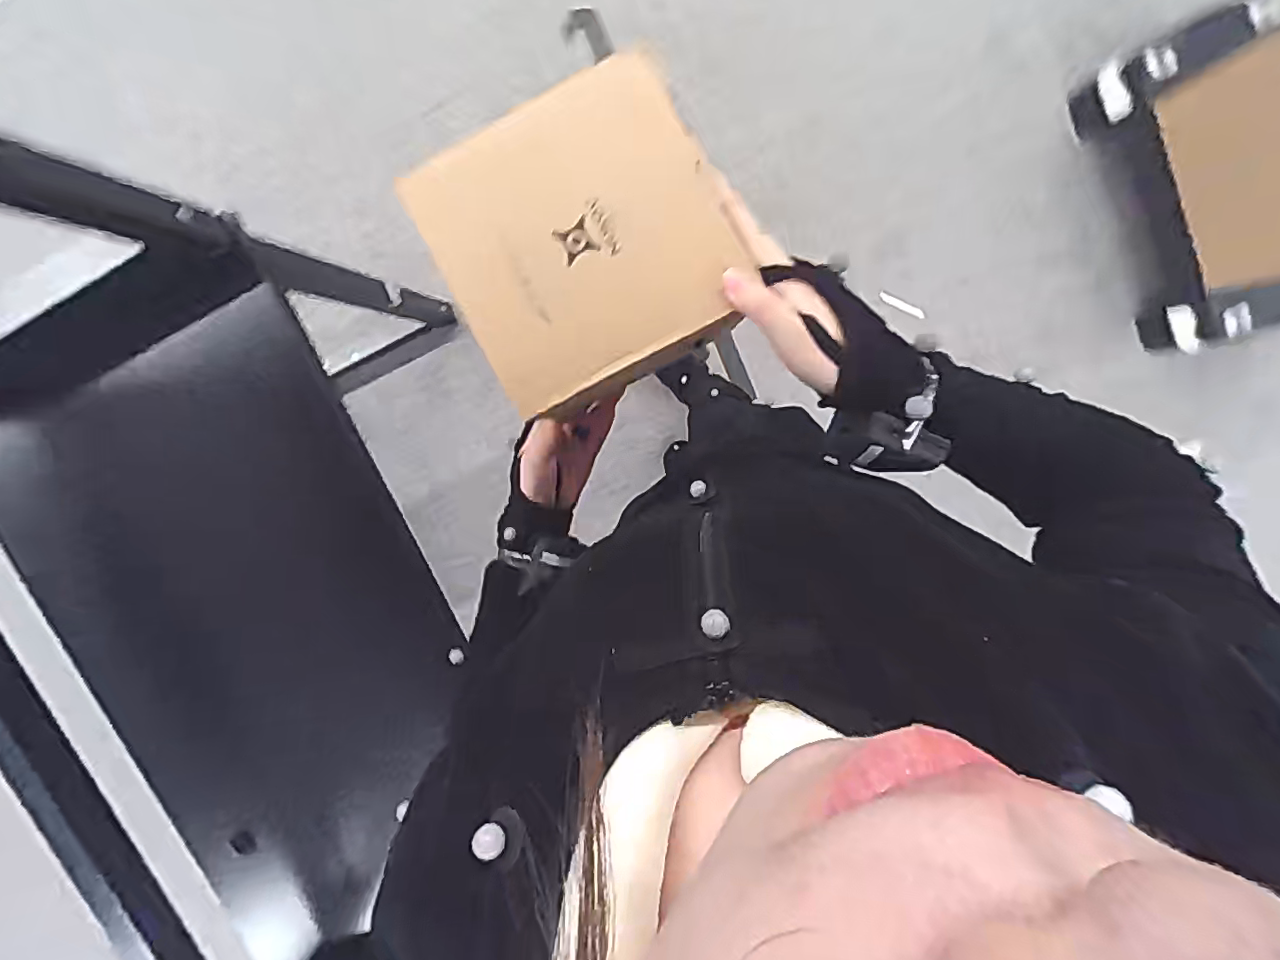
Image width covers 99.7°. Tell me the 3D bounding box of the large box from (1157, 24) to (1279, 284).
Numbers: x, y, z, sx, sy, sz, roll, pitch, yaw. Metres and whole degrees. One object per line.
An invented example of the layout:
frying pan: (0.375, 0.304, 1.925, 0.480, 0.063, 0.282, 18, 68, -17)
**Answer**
large box: (1.254, -0.626, 0.954, 0.320, 0.320, 0.408, -24, 96, 7)

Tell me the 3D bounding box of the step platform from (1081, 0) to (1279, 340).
step platform: (1.249, -0.673, 1.190, 0.286, 0.204, 0.684, -19, 96, 7)
